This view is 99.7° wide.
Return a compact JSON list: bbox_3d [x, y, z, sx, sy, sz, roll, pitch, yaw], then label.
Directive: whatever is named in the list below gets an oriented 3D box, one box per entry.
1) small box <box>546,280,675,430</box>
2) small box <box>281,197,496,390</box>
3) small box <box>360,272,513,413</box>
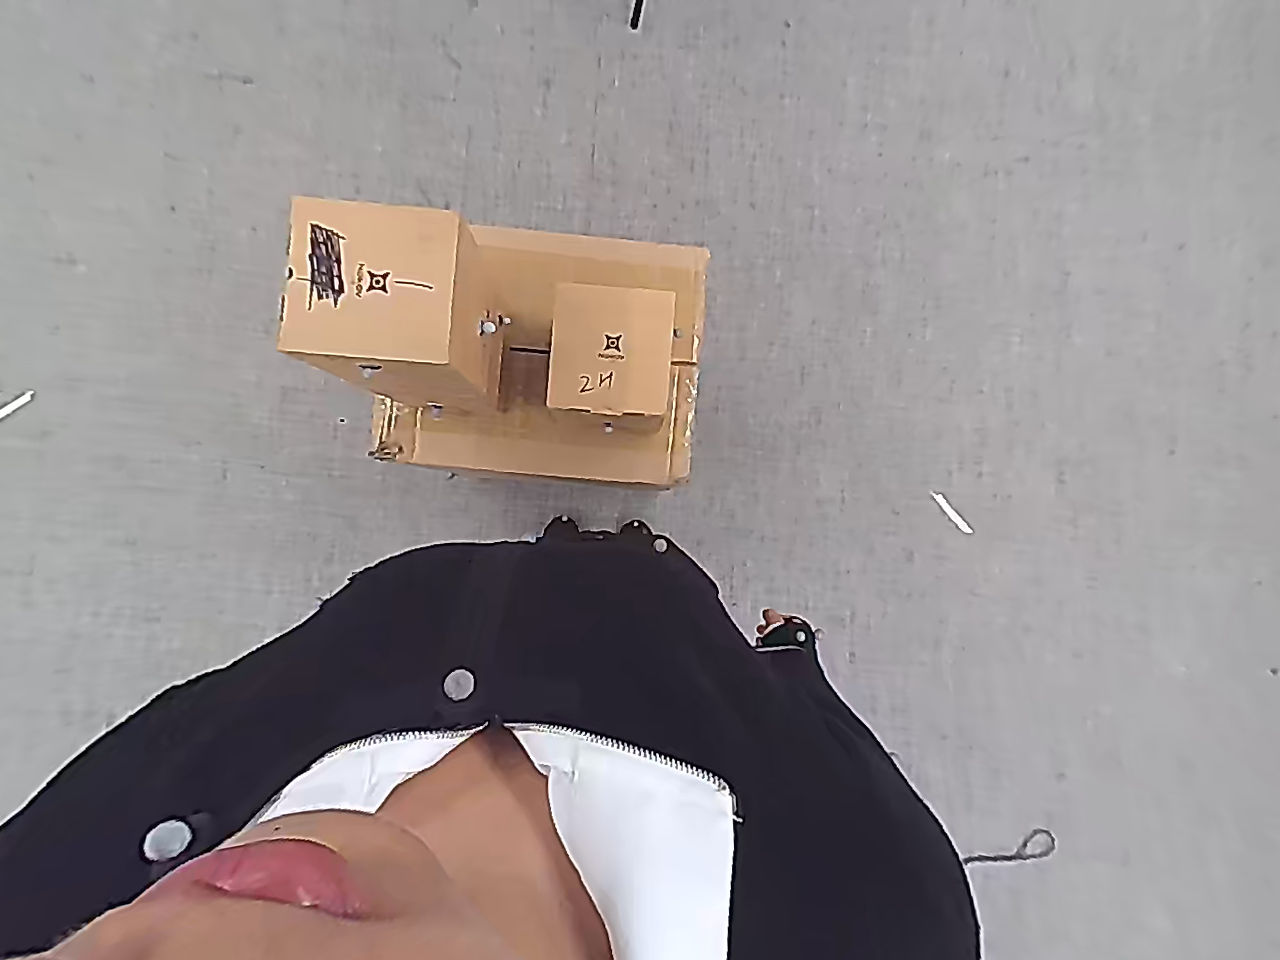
[{"bbox_3d":[-0.041,-0.178,0.816,0.168,0.176,0.179,4,88,0],"label":"small box"},{"bbox_3d":[-0.284,-0.208,0.647,0.179,0.176,0.168,4,88,-3],"label":"small box"},{"bbox_3d":[-0.293,-0.205,0.811,0.168,0.176,0.179,5,89,-1],"label":"small box"}]
